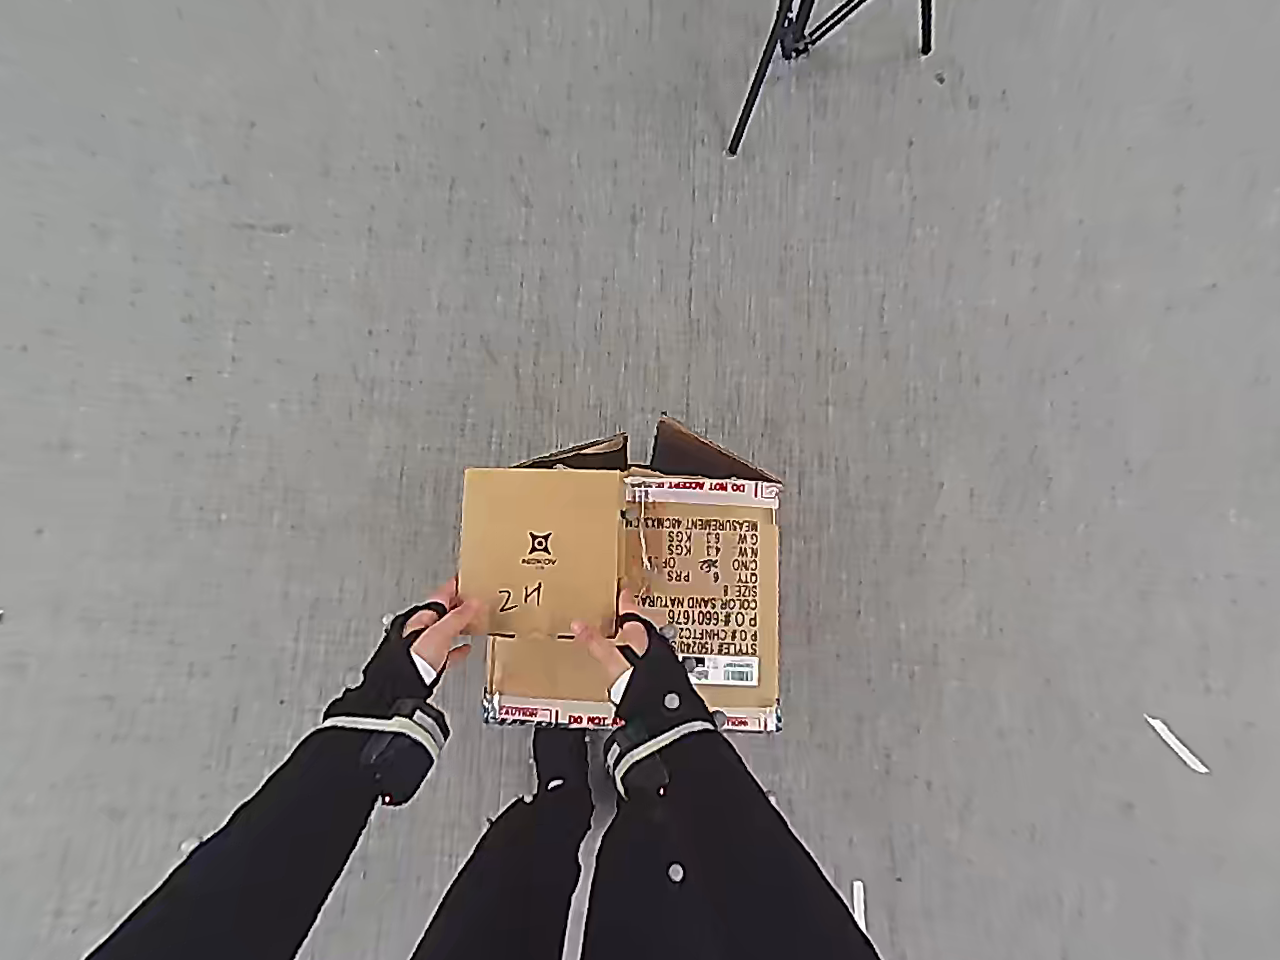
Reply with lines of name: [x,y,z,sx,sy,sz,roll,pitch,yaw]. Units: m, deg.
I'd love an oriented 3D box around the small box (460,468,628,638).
small box: [-0.102,0.084,0.644,0.168,0.176,0.179,1,85,1]
